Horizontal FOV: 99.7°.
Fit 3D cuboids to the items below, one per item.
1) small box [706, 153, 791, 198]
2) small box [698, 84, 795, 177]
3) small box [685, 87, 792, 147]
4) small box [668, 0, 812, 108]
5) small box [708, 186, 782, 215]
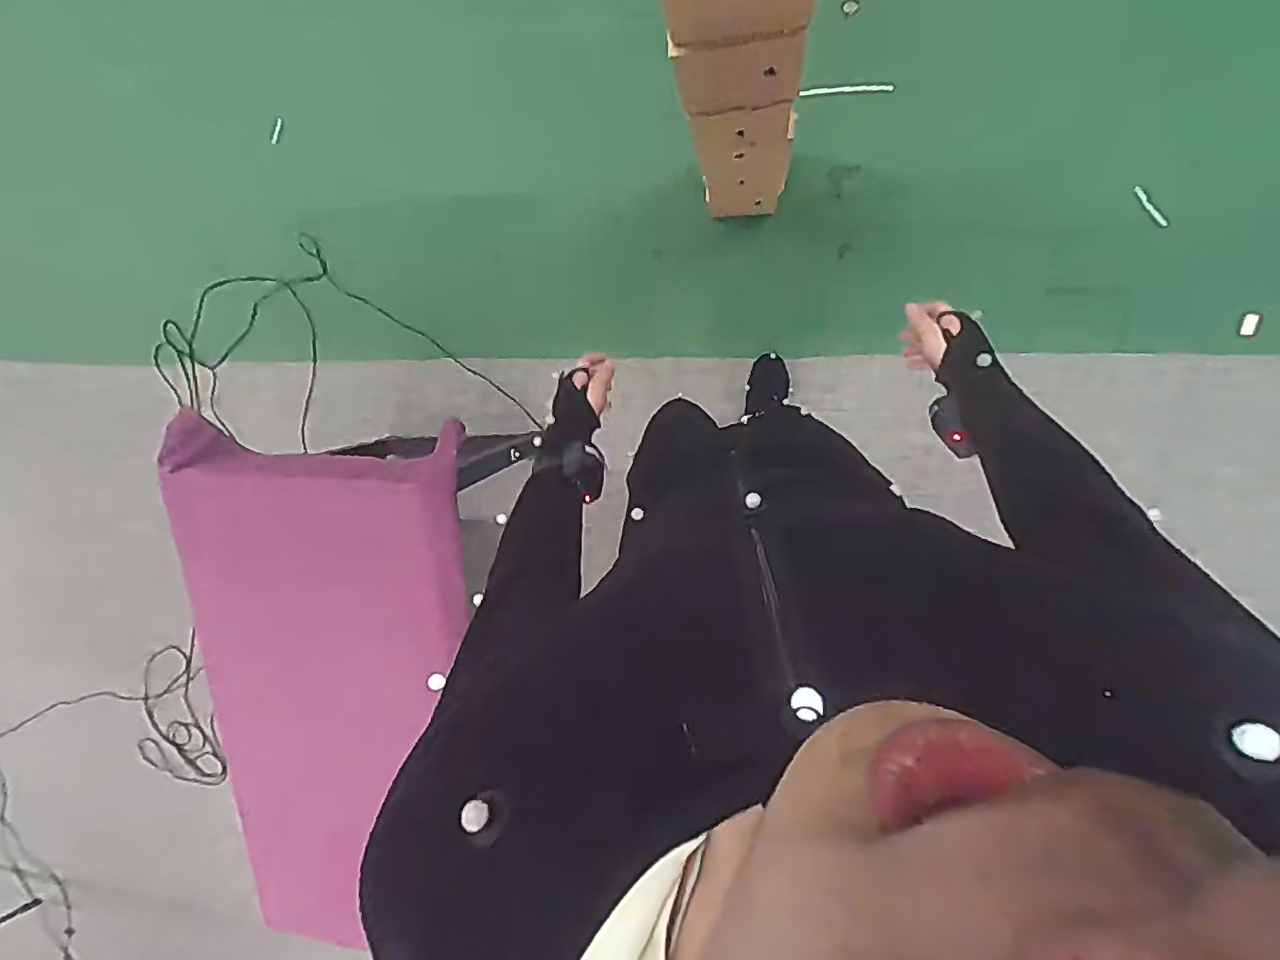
[{"bbox_3d":[0.240,-0.743,1.201,0.179,0.176,0.168,0,103,12],"label":"small box"},{"bbox_3d":[0.205,-0.708,1.045,0.179,0.176,0.168,-2,103,12],"label":"small box"},{"bbox_3d":[0.165,-0.673,0.891,0.168,0.176,0.179,0,104,12],"label":"small box"},{"bbox_3d":[0.136,-0.639,0.733,0.179,0.176,0.168,1,102,13],"label":"small box"},{"bbox_3d":[0.265,-0.776,1.358,0.179,0.176,0.168,2,103,11],"label":"small box"}]
